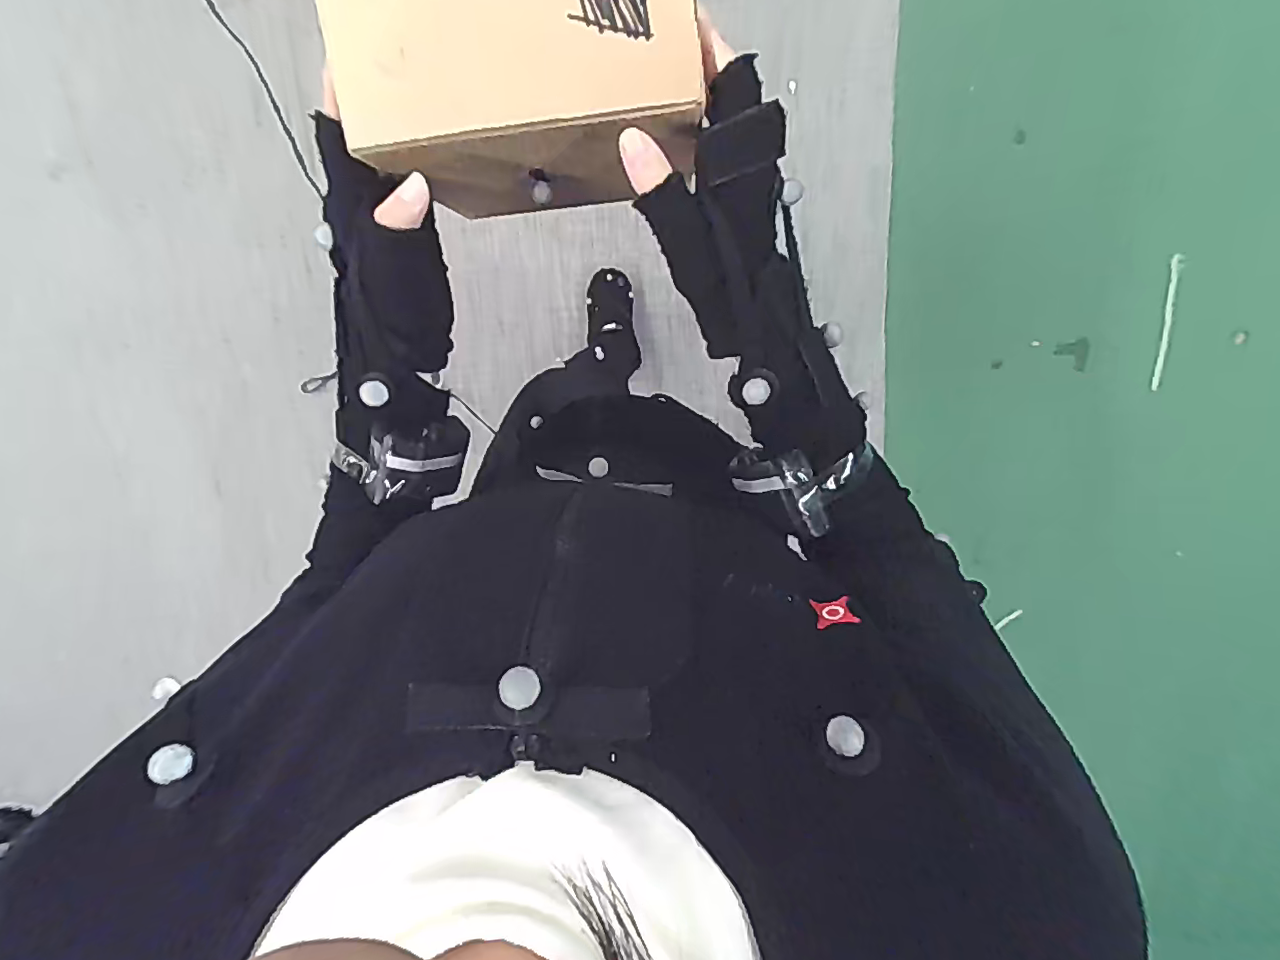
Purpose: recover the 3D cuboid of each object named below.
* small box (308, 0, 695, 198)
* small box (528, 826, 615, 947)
[{"bbox_3d":[-0.064,-0.276,0.308,0.179,0.176,0.168,-5,106,6],"label":"small box"},{"bbox_3d":[-0.154,0.958,1.285,0.179,0.176,0.168,-2,102,5],"label":"small box"}]
